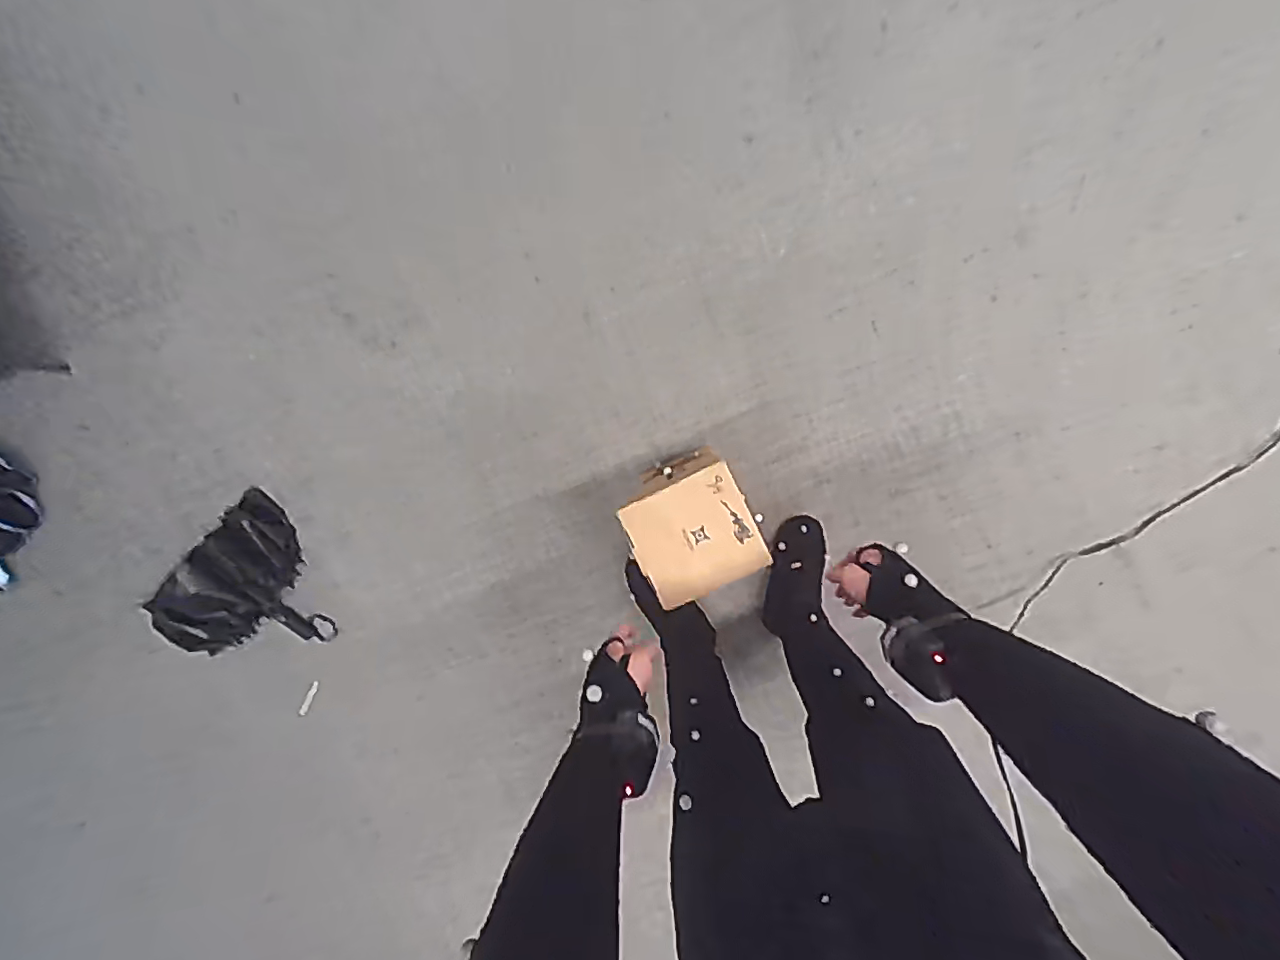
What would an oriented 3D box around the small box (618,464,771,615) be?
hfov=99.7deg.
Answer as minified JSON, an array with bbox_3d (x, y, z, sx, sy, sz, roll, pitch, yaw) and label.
[{"bbox_3d":[0.088,0.086,0.861,0.179,0.176,0.168,-27,92,8],"label":"small box"}]

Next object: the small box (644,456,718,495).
[{"bbox_3d":[0.121,0.057,1.186,0.168,0.176,0.179,-26,94,7],"label":"small box"}]
